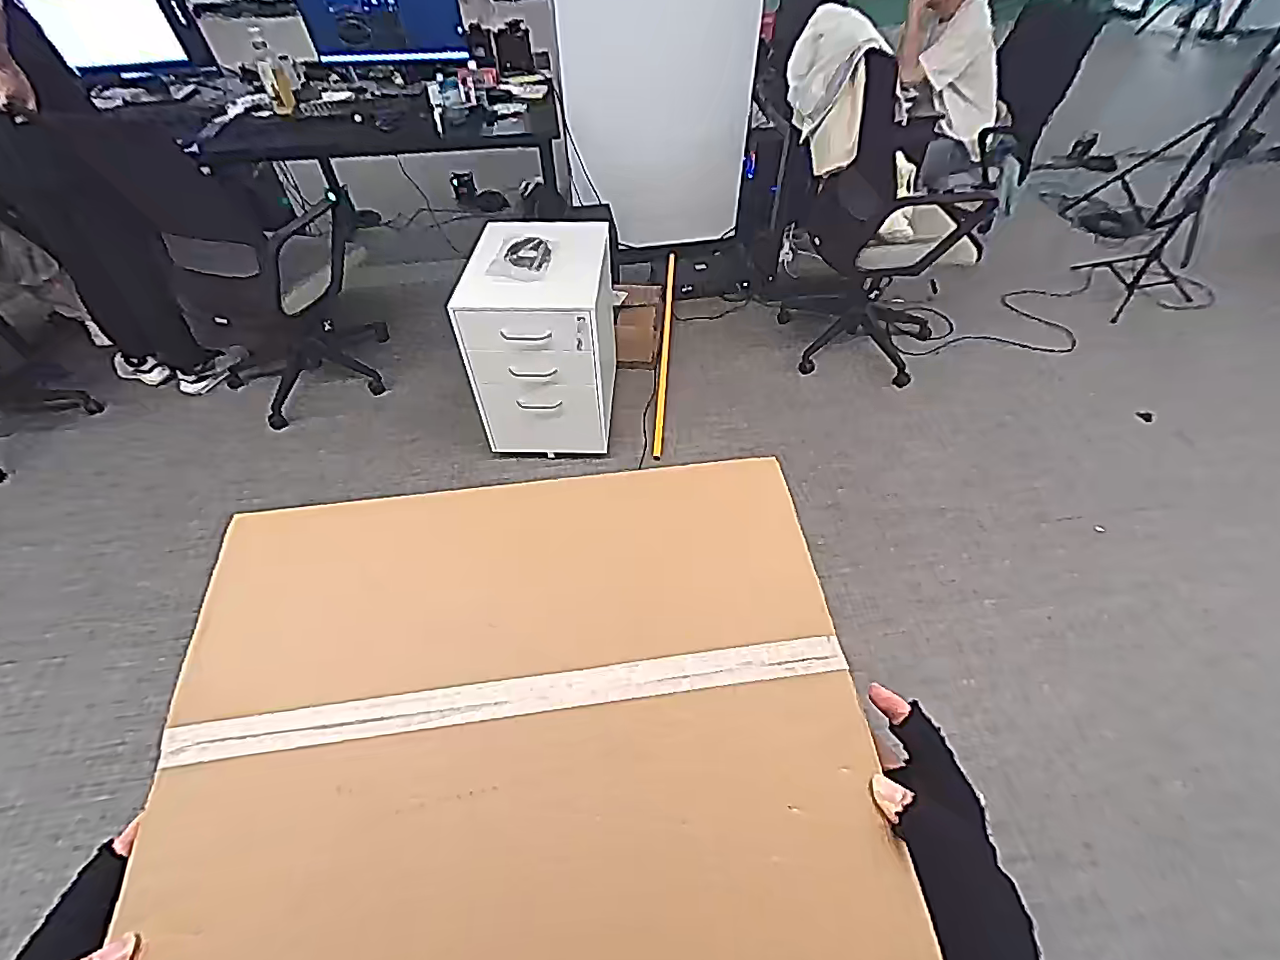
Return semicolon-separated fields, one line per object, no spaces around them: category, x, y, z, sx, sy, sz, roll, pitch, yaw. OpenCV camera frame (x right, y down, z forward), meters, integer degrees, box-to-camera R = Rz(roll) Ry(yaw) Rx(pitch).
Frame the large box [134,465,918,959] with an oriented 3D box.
large box;-0.073;0.219;0.465;0.408;0.320;0.320;-6;58;-4
